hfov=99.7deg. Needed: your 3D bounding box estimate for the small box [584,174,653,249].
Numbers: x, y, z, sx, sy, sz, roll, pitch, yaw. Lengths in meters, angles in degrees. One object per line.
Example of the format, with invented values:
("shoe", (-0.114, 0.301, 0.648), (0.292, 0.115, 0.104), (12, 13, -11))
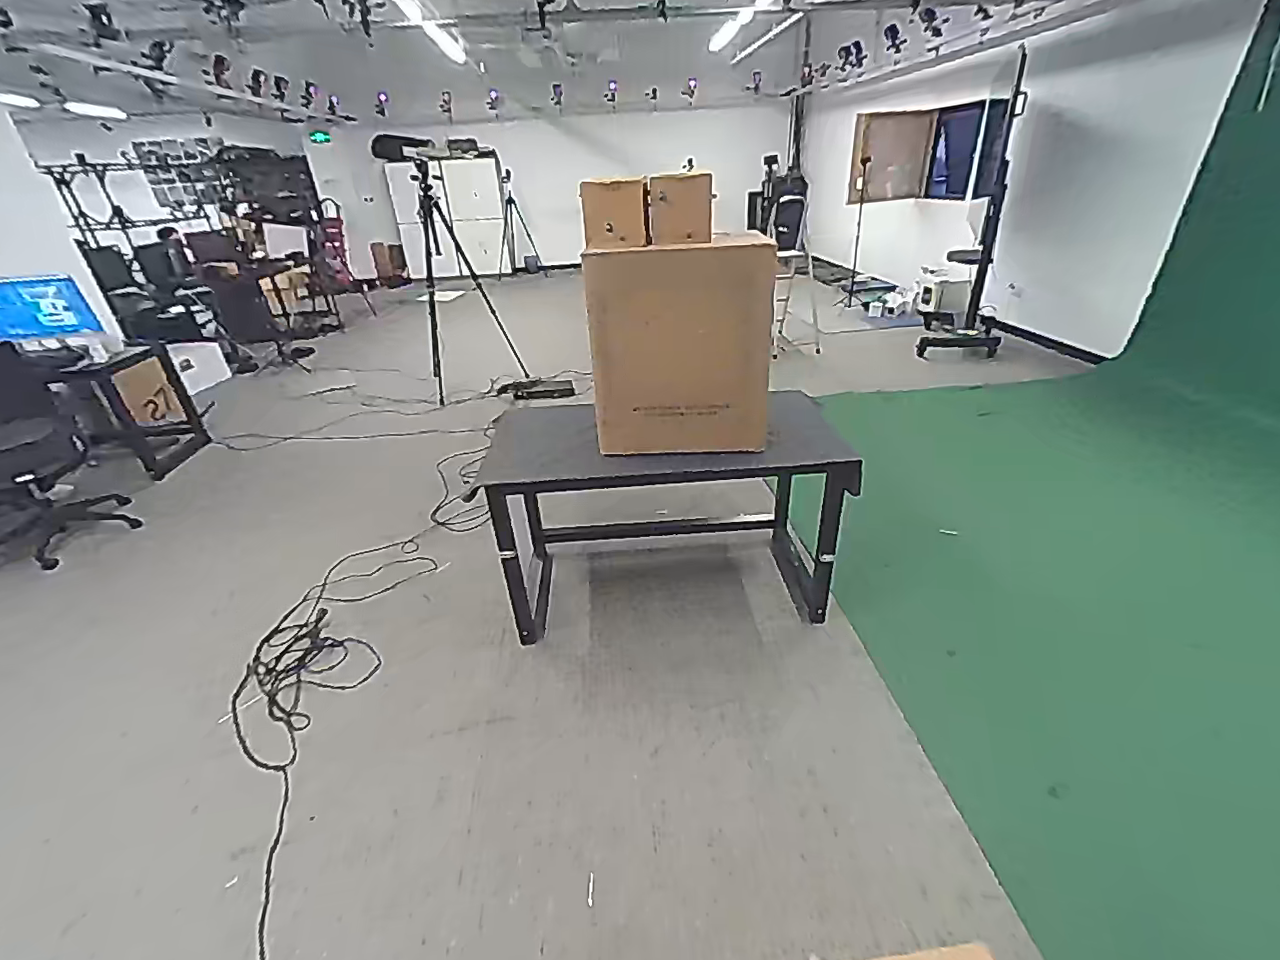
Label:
("small box", (-0.053, -0.752, 1.513), (0.168, 0.176, 0.179), (1, 33, 7))
